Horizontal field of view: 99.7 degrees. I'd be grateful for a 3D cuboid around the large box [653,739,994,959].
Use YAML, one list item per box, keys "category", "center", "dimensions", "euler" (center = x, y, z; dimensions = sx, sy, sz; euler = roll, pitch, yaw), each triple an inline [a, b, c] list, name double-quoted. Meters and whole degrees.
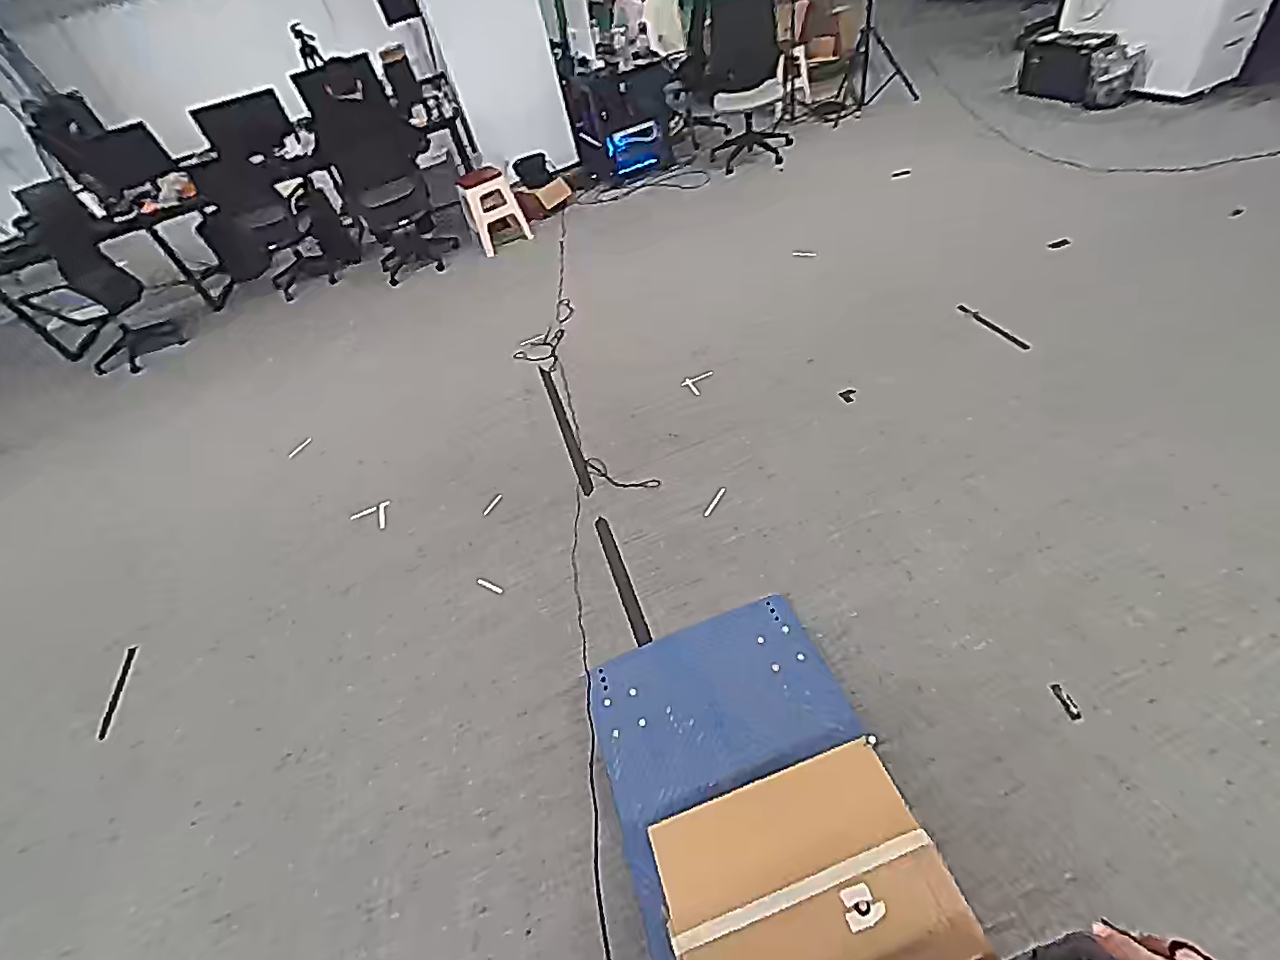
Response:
- category: "large box"
  center: [0.278, 0.718, 0.916]
  dimensions: [0.408, 0.320, 0.320]
  euler: [-20, 45, -4]
